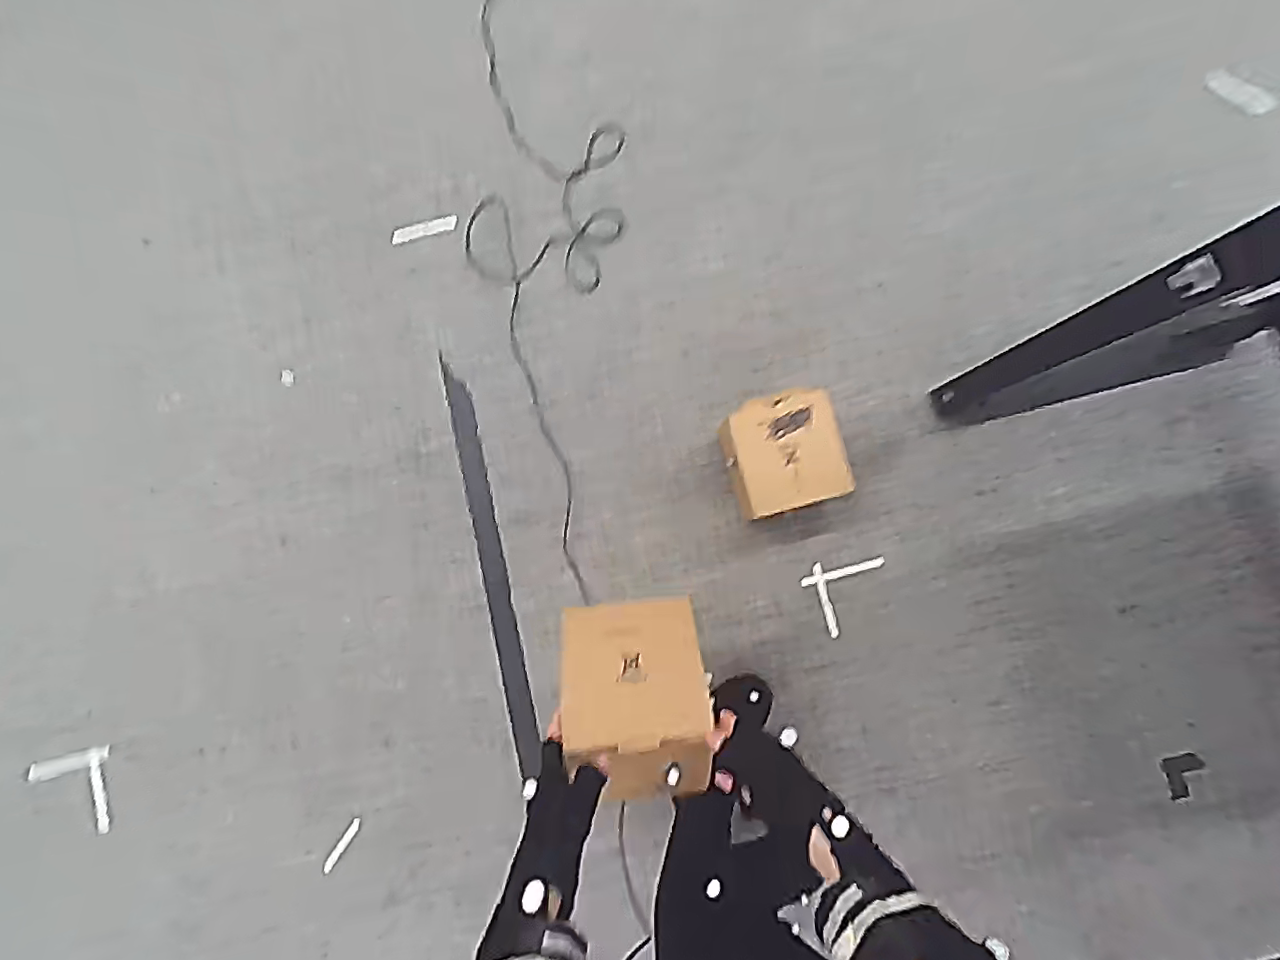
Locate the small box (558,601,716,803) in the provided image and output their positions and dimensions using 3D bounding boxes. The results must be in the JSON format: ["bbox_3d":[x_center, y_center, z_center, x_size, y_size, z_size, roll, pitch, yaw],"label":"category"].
[{"bbox_3d":[-0.009,0.274,0.661,0.168,0.176,0.179,-4,42,-5],"label":"small box"}]

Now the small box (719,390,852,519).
[{"bbox_3d":[0.242,-0.036,0.949,0.168,0.176,0.179,-16,84,2],"label":"small box"}]
